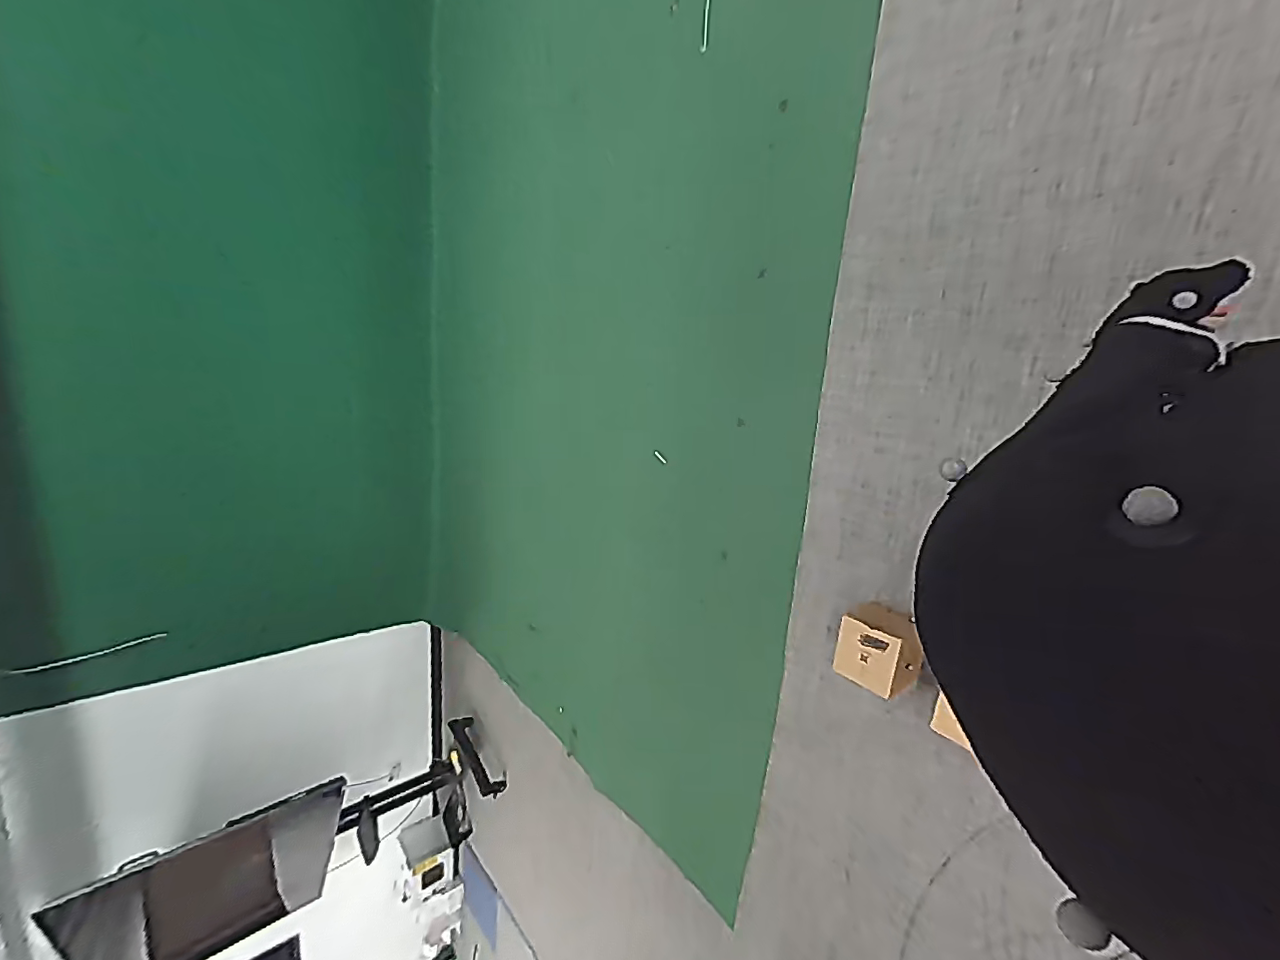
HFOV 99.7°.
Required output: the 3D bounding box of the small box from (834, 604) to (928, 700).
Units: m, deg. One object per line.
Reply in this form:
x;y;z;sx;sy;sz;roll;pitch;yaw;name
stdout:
0.665;0.461;1.485;0.168;0.176;0.179;21;110;47;small box
